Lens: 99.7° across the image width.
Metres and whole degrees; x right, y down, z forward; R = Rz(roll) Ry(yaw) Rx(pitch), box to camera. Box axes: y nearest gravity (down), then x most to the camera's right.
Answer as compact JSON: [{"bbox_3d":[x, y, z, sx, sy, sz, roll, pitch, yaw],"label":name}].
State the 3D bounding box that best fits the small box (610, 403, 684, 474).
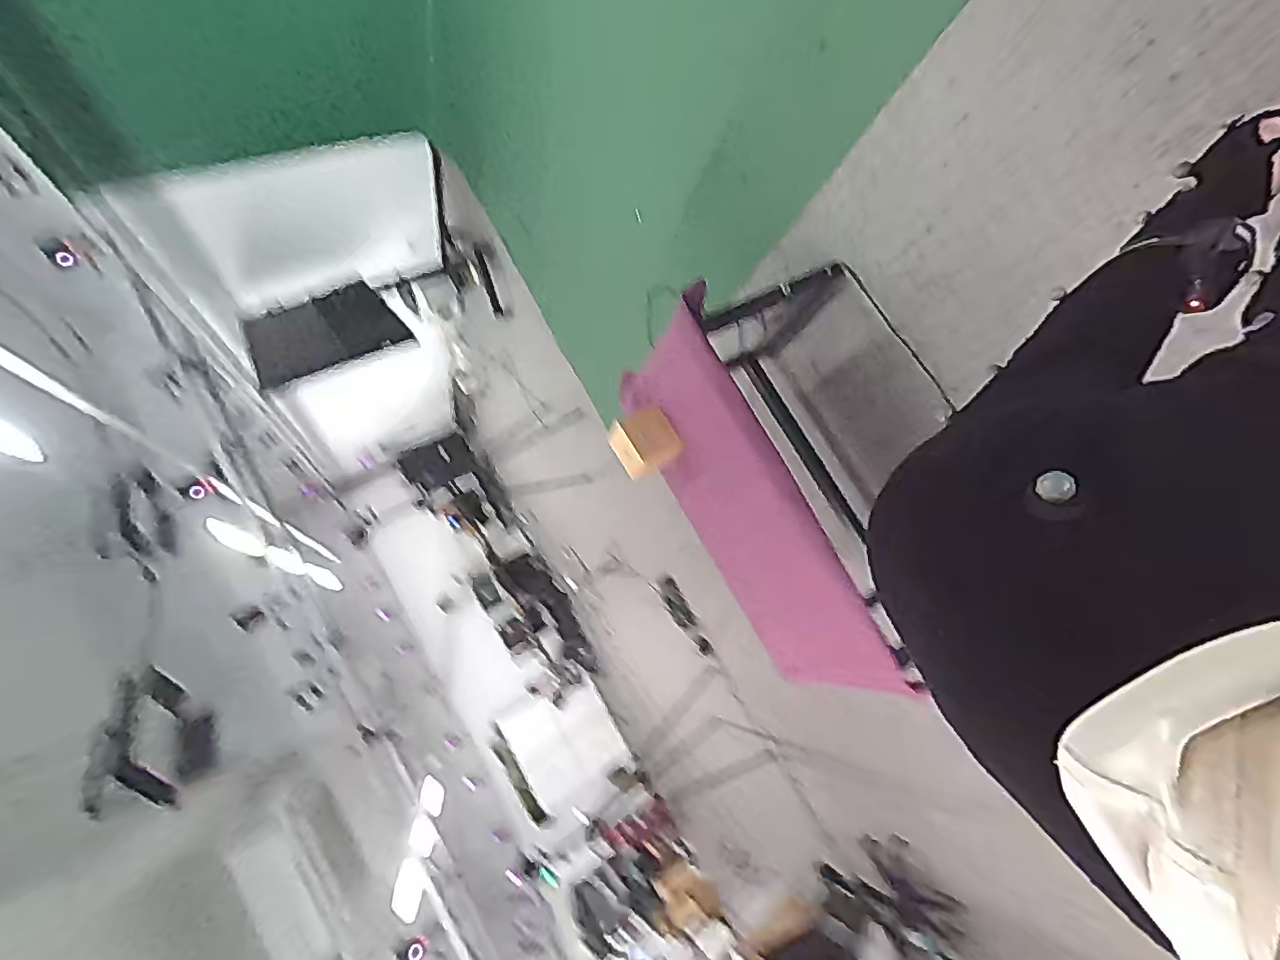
[{"bbox_3d":[0.023,-0.152,1.909,0.179,0.176,0.168,57,157,10],"label":"small box"}]
